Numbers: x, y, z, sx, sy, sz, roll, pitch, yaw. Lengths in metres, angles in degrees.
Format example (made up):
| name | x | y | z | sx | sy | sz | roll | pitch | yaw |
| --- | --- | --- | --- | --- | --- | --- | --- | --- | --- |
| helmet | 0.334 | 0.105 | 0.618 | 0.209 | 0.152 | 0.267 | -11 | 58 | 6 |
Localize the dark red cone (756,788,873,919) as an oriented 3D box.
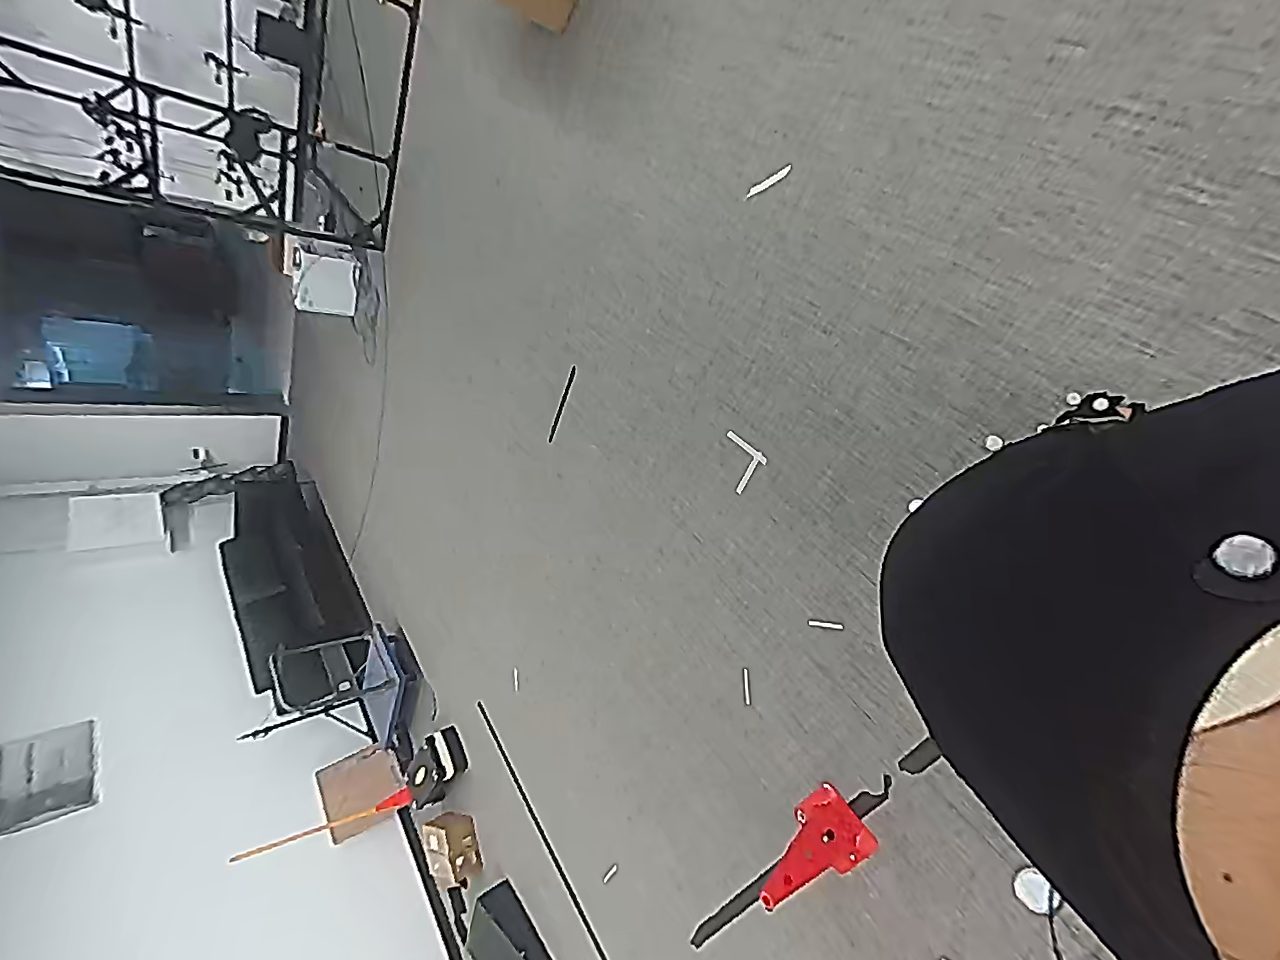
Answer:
| name | x | y | z | sx | sy | sz | roll | pitch | yaw |
| --- | --- | --- | --- | --- | --- | --- | --- | --- | --- |
| dark red cone | 0.433 | 1.035 | 1.454 | 0.201 | 0.394 | 0.202 | 46 | 125 | 32 |
